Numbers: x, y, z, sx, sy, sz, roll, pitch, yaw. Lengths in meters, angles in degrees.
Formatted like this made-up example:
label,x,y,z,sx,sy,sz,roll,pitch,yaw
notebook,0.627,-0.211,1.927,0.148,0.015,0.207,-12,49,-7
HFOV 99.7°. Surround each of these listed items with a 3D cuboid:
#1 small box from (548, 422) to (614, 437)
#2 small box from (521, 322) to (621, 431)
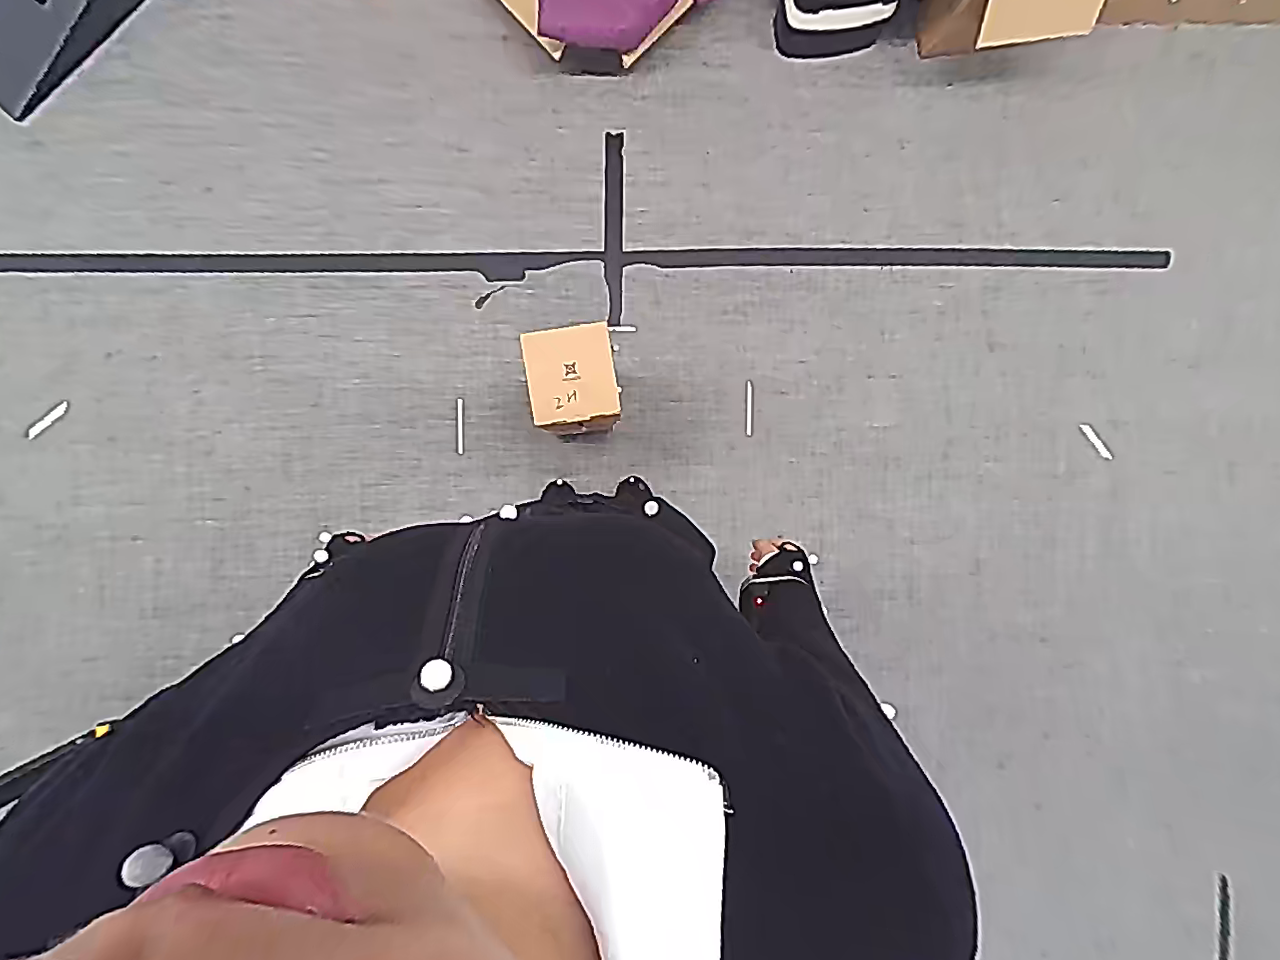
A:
label,x,y,z,sx,sy,sz,roll,pitch,yaw
small box,-0.159,-0.210,1.410,0.168,0.176,0.179,-7,93,-1
small box,-0.132,-0.198,1.081,0.168,0.176,0.179,-9,92,-1
